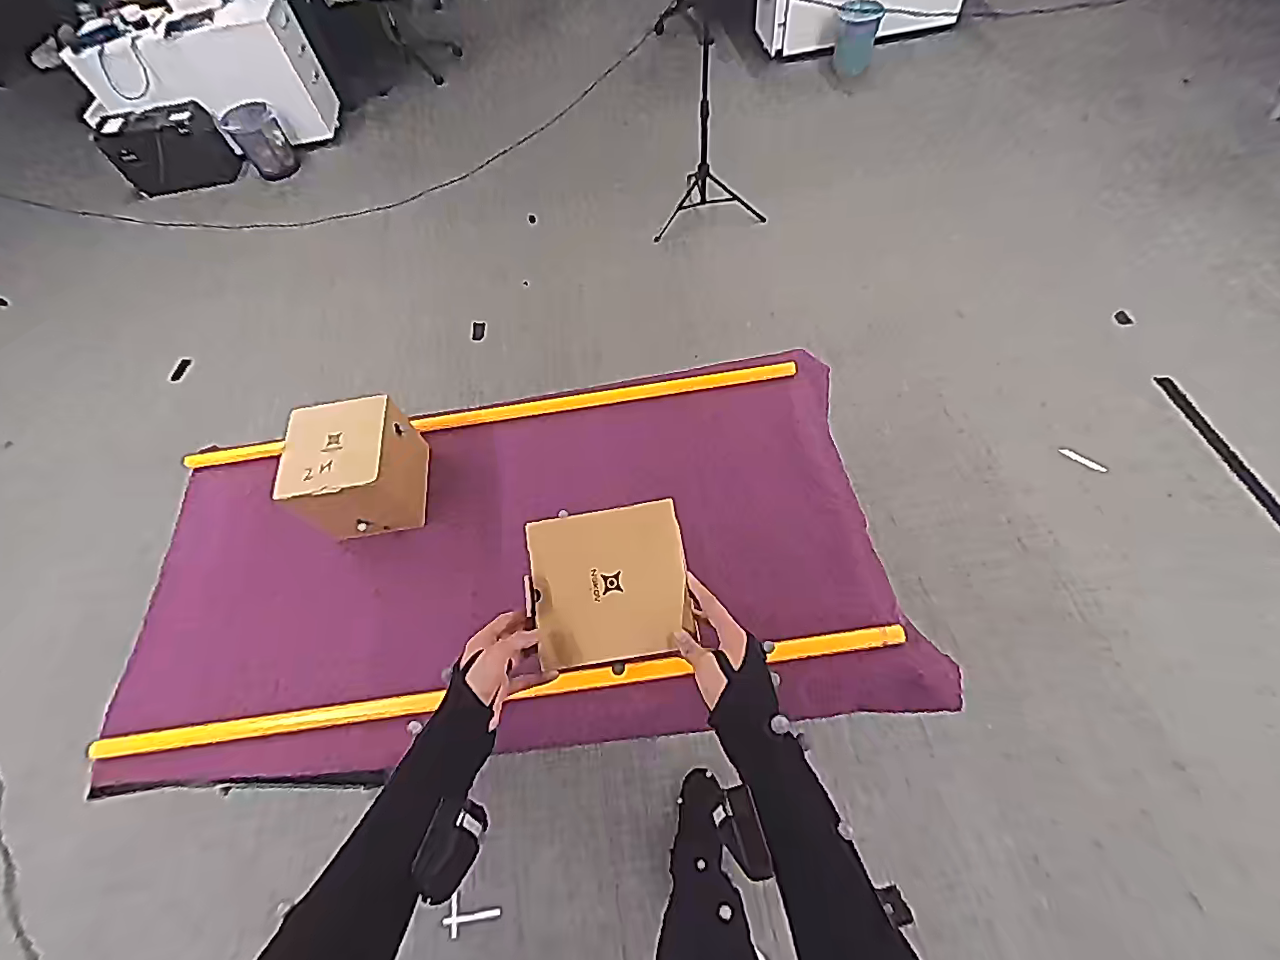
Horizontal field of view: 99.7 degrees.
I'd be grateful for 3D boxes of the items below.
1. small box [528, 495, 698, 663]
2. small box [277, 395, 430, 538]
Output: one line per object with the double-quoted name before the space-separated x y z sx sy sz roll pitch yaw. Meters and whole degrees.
"small box" -0.025 0.127 0.680 0.179 0.176 0.168 -11 74 5
"small box" -0.481 -0.019 0.938 0.168 0.176 0.179 -9 61 1
